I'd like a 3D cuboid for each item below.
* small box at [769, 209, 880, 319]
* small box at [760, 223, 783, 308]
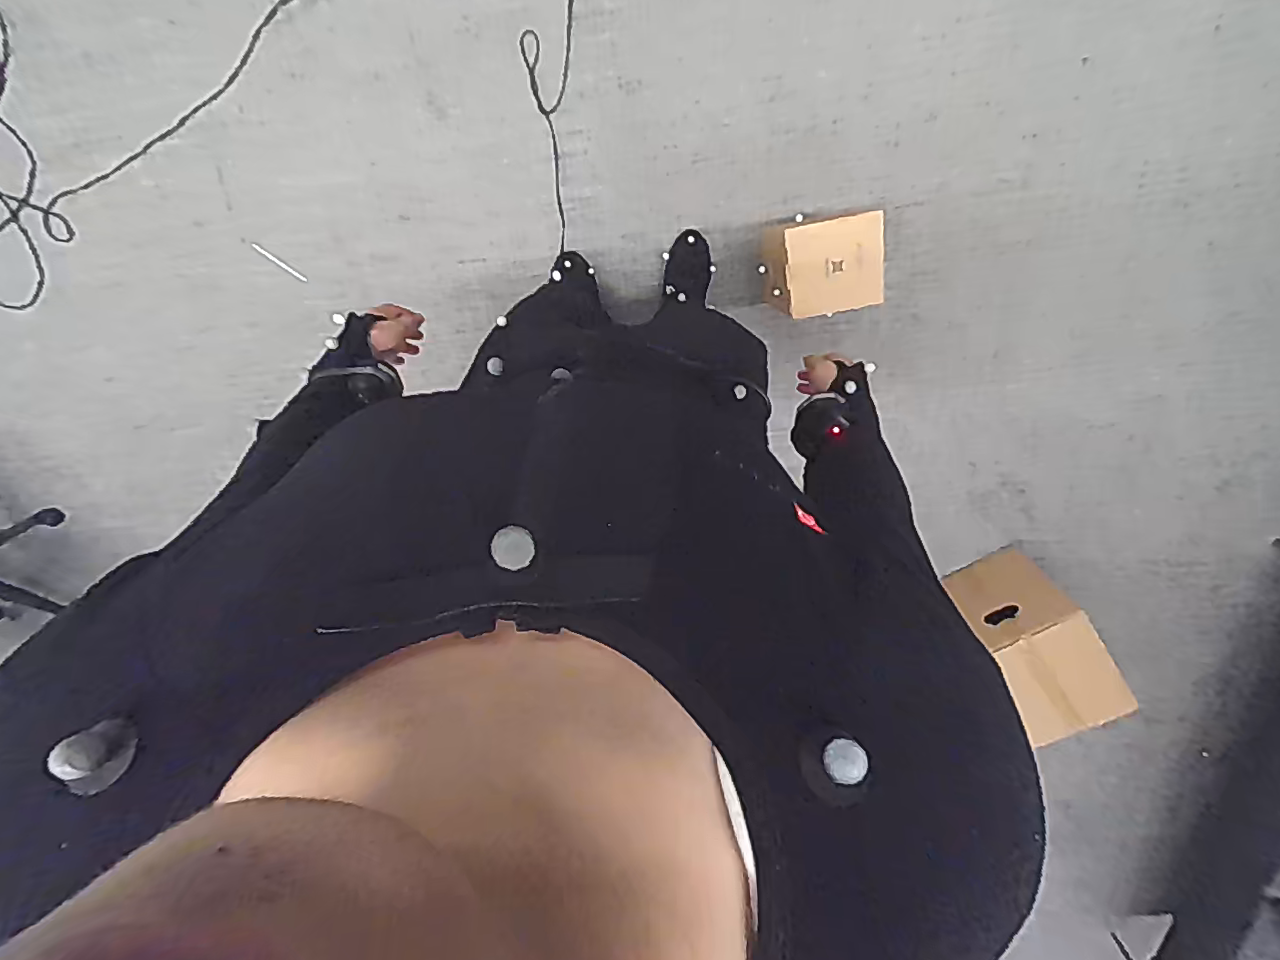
[{"bbox_3d":[0.360,-0.432,1.077,0.179,0.176,0.168,-10,117,6],"label":"small box"},{"bbox_3d":[0.369,-0.495,1.227,0.179,0.176,0.168,-7,116,6],"label":"small box"}]
